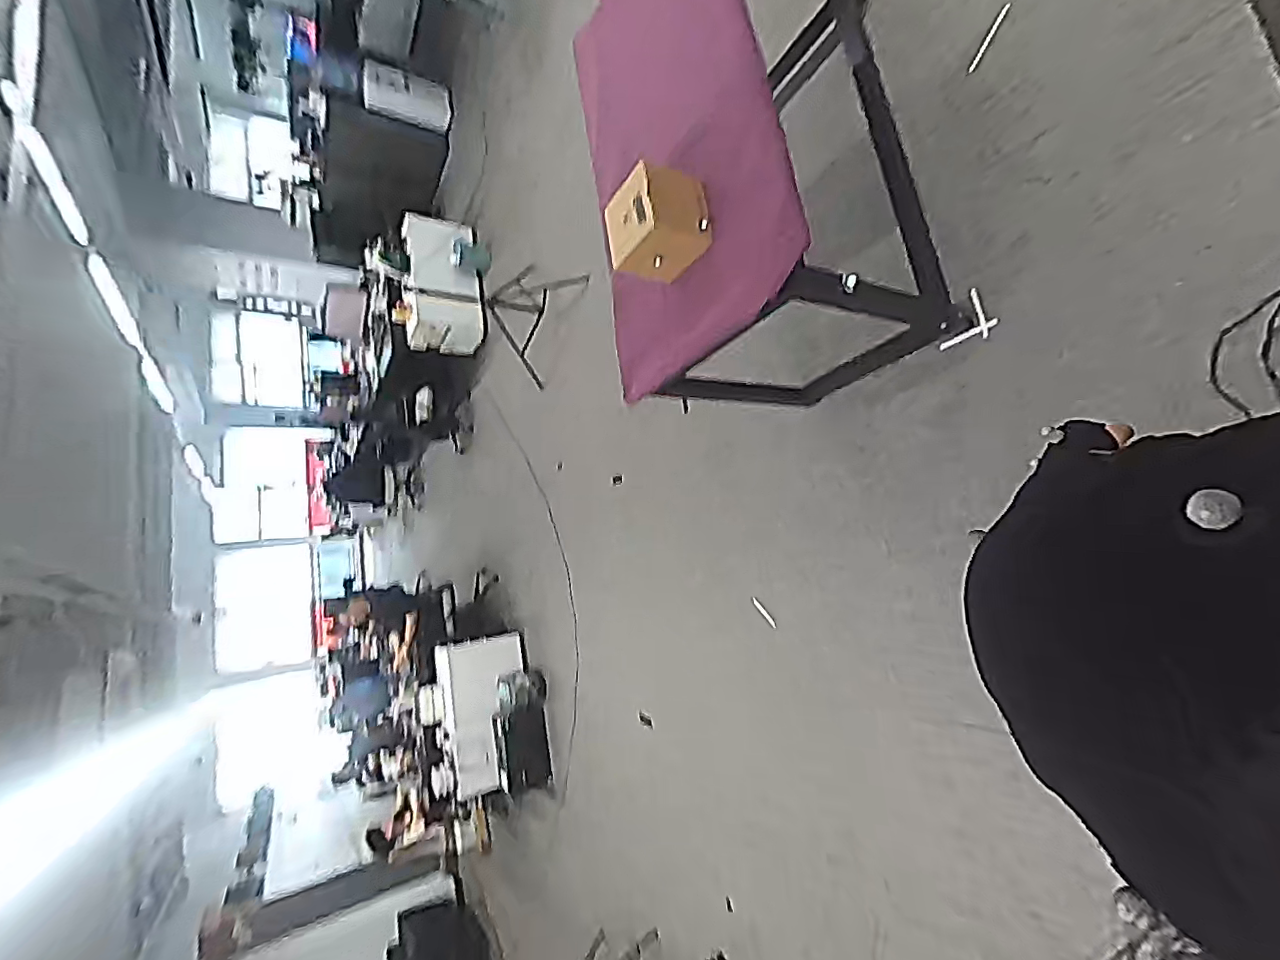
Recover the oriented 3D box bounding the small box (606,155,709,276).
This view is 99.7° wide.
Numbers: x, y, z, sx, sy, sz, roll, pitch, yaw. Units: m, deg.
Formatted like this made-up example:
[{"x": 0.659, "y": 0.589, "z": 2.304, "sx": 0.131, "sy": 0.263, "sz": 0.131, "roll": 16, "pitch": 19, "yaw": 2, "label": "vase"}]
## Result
[{"x": 0.045, "y": -0.603, "z": 1.255, "sx": 0.179, "sy": 0.176, "sz": 0.168, "roll": -25, "pitch": 71, "yaw": 55, "label": "small box"}]
